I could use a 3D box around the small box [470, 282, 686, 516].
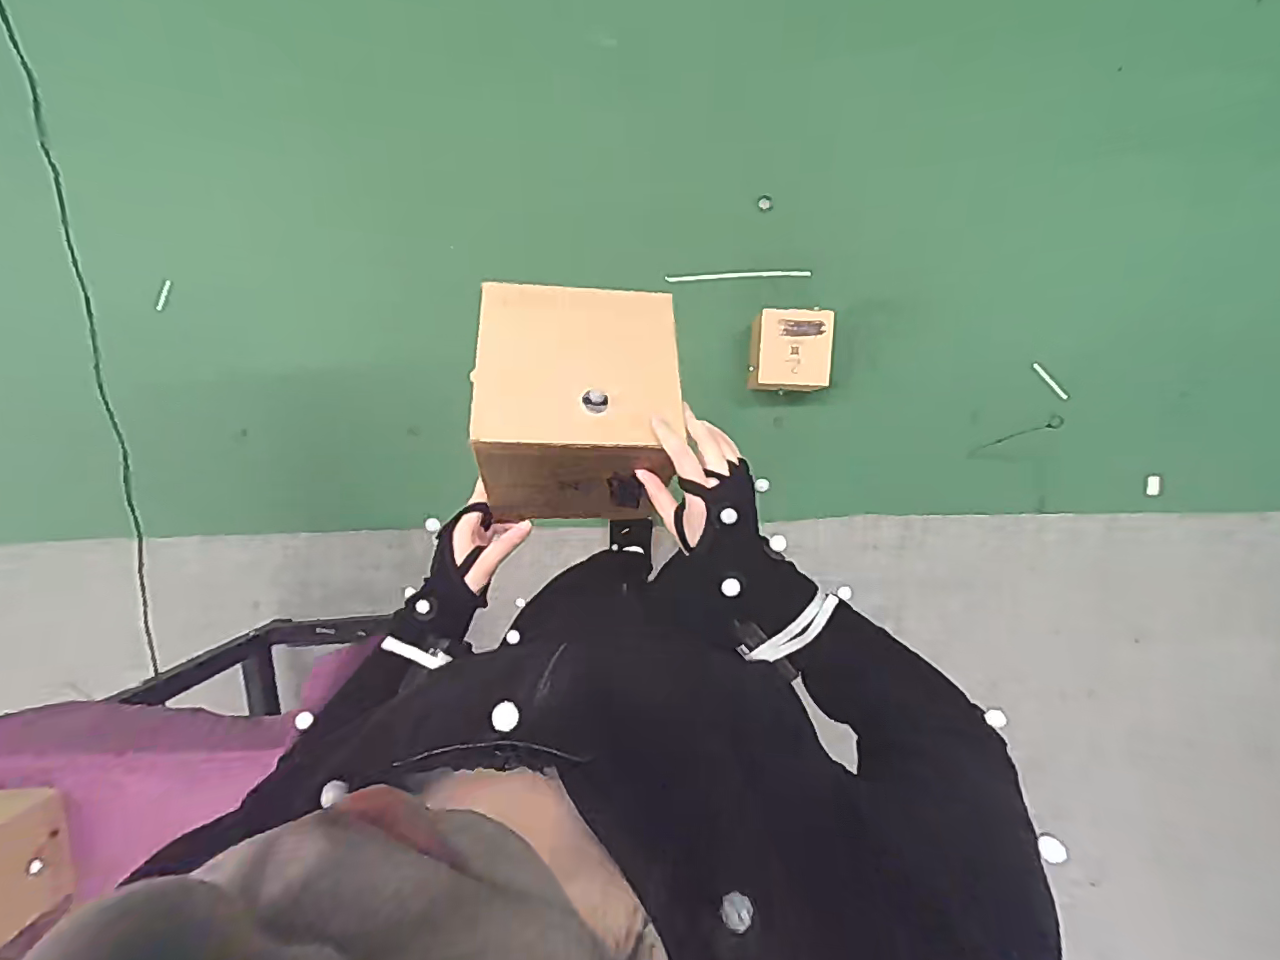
[{"bbox_3d":[-0.063,-0.071,0.532,0.179,0.168,0.176,2,66,-9],"label":"small box"}]

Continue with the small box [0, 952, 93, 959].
[{"bbox_3d":[-0.956,0.840,0.789,0.179,0.176,0.168,-4,95,3],"label":"small box"}]

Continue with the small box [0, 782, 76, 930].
[{"bbox_3d":[-0.969,0.552,0.760,0.179,0.176,0.168,-2,95,1],"label":"small box"}]
